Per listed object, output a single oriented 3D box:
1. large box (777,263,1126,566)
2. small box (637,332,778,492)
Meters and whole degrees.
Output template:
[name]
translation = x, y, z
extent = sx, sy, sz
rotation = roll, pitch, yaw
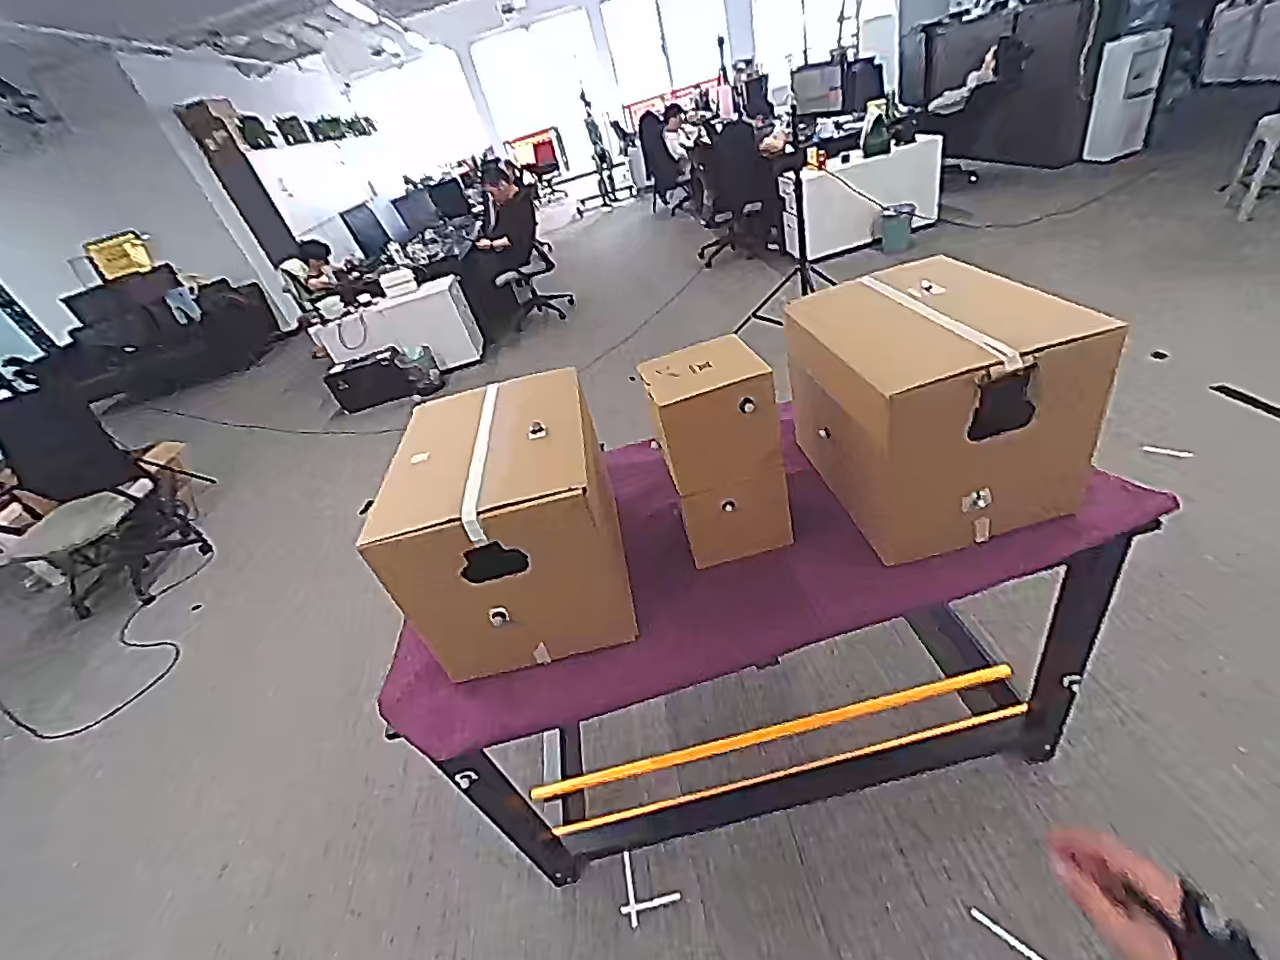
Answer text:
[large box]
translation = 0.465, -0.128, 0.910
extent = 0.320, 0.320, 0.408
rotation = -16, 34, 1
[small box]
translation = 0.110, -0.108, 0.863
extent = 0.179, 0.176, 0.168
rotation = -18, 34, -1
